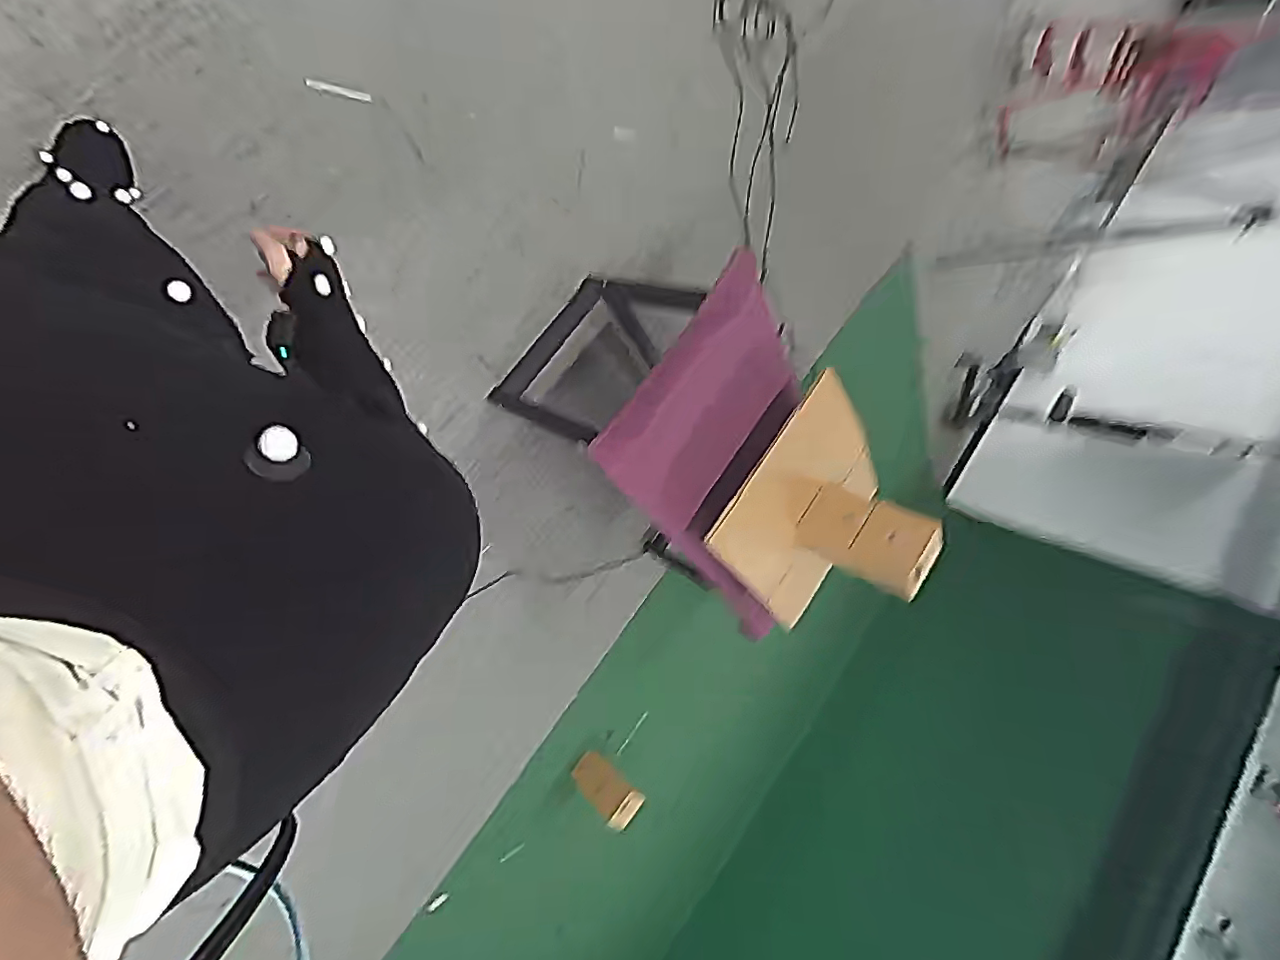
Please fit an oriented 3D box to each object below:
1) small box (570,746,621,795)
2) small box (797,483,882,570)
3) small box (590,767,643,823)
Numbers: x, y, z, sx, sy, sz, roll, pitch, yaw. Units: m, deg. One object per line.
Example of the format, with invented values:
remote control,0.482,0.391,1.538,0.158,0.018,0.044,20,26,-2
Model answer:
small box,-0.231,1.524,2.822,0.168,0.176,0.179,-51,136,-14
small box,0.600,0.136,1.628,0.179,0.176,0.168,-53,139,-11
small box,-0.122,1.578,2.712,0.168,0.176,0.179,-50,136,-14
